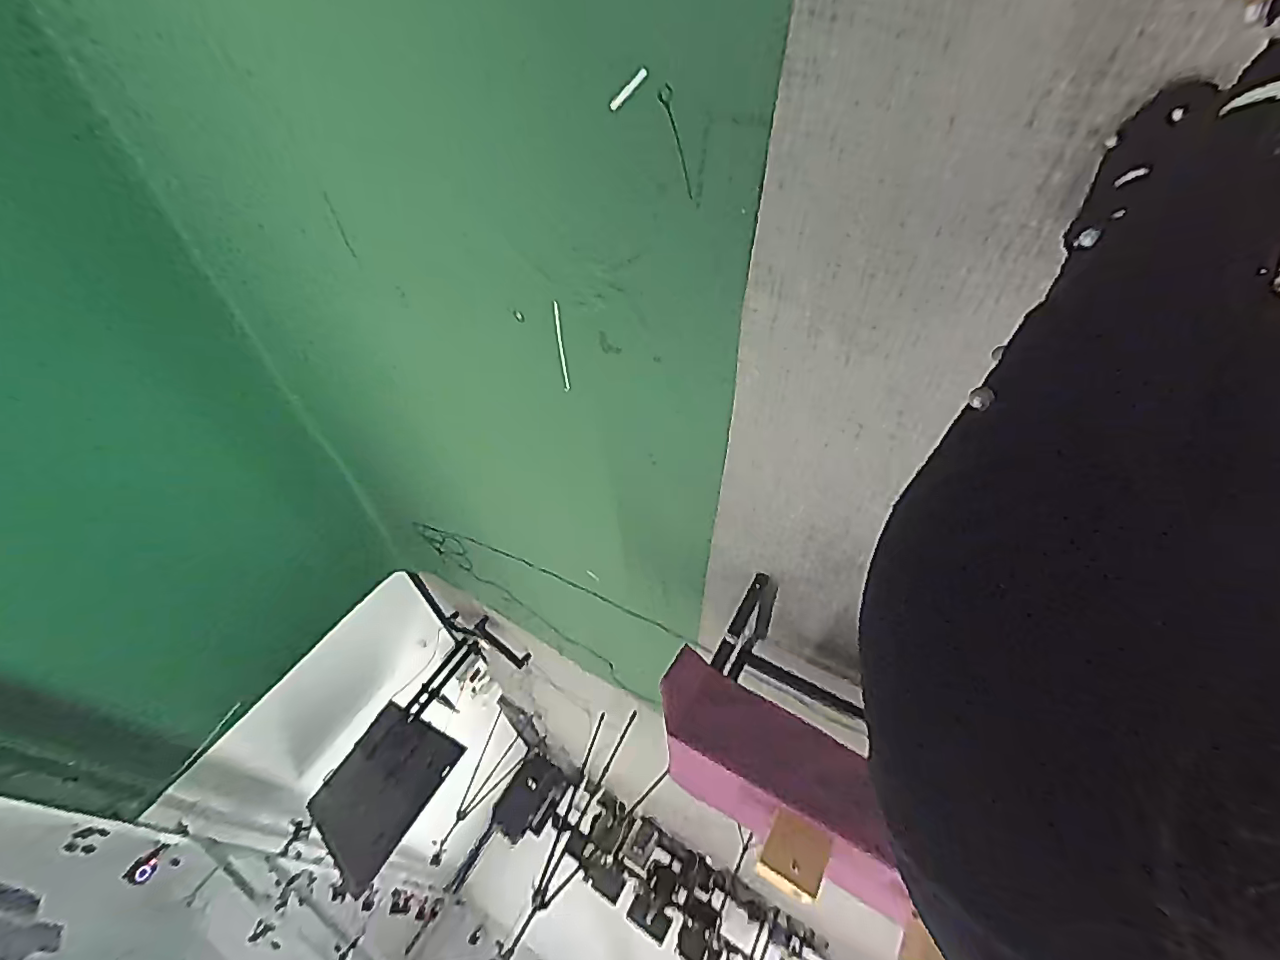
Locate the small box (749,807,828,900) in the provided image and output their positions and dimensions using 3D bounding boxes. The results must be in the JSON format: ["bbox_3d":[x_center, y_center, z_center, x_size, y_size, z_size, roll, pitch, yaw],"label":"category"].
[{"bbox_3d":[0.456,1.144,1.660,0.179,0.176,0.168,24,144,22],"label":"small box"}]

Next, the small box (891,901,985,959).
[{"bbox_3d":[0.827,1.309,1.500,0.168,0.176,0.179,24,145,21],"label":"small box"}]
